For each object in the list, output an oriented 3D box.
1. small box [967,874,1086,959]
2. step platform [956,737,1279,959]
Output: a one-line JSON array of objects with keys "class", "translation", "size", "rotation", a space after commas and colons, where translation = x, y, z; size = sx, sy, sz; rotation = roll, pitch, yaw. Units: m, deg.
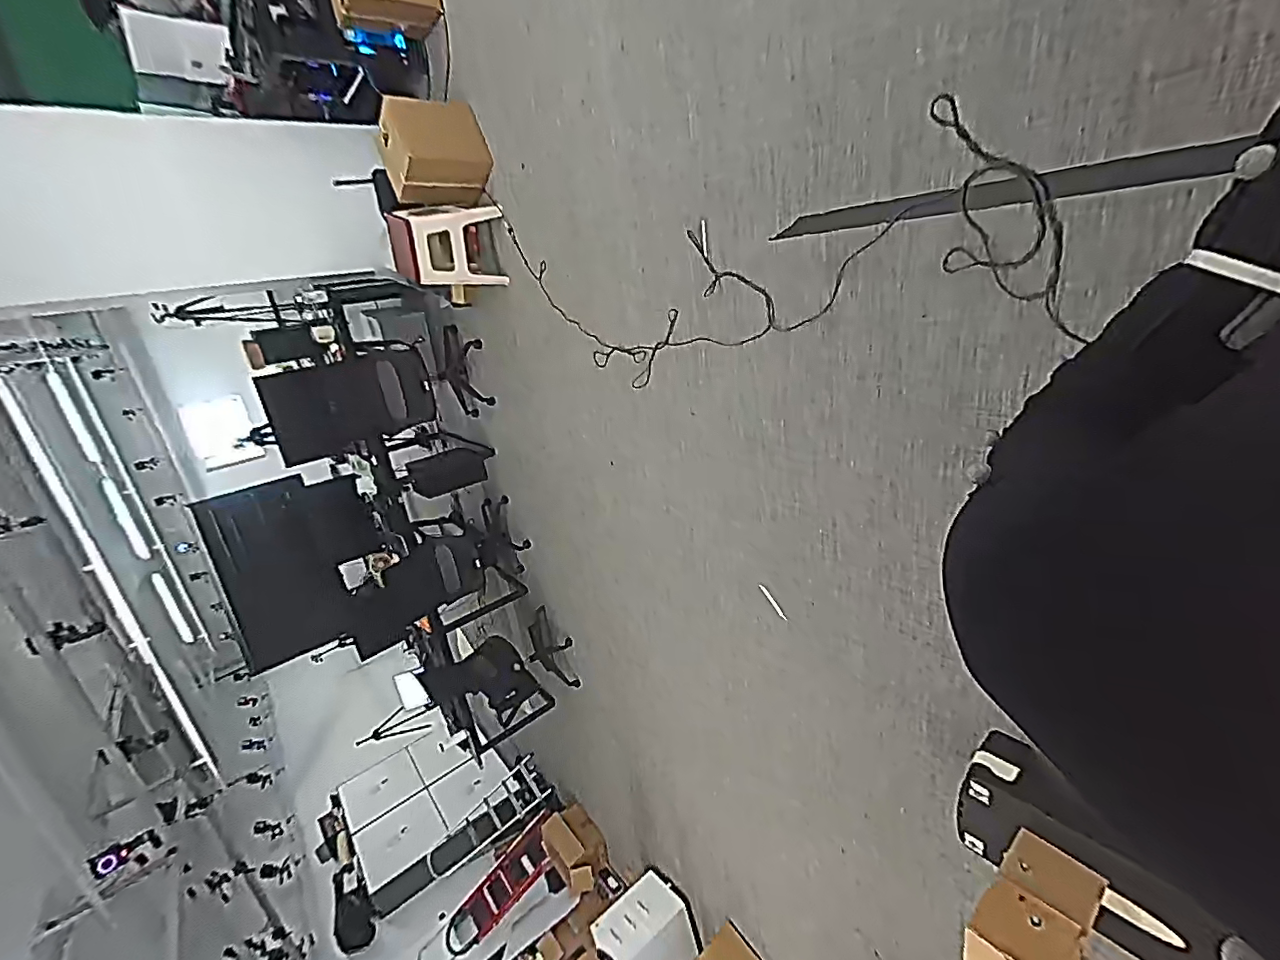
[{"class": "small box", "translation": [0.839, 1.027, 1.177], "size": [0.168, 0.176, 0.179], "rotation": [15, 120, 51]}, {"class": "step platform", "translation": [1.152, 0.947, 1.302], "size": [0.684, 0.204, 0.286], "rotation": [17, 123, 49]}]
